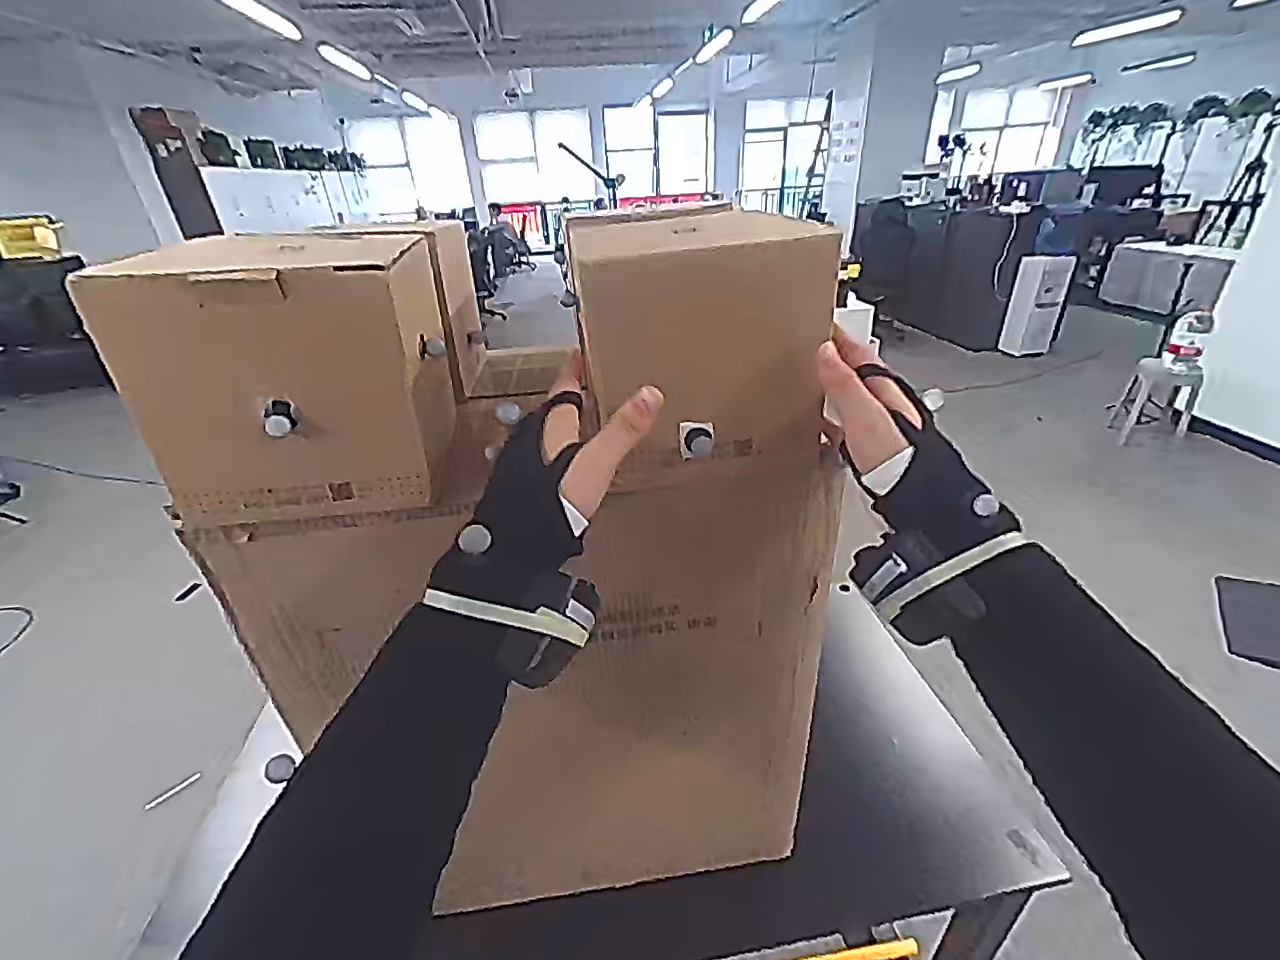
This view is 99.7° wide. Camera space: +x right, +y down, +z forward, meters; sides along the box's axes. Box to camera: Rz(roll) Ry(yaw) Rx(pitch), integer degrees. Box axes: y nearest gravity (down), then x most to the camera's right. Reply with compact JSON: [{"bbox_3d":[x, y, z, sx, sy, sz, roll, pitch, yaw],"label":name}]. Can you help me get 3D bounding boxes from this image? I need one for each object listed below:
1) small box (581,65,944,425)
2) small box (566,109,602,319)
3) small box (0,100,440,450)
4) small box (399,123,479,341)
[{"bbox_3d":[0.056,-0.152,0.357,0.168,0.176,0.179,-10,32,-5],"label":"small box"},{"bbox_3d":[0.018,-0.263,0.545,0.168,0.176,0.179,-8,27,-6],"label":"small box"},{"bbox_3d":[-0.227,-0.126,0.333,0.168,0.176,0.179,-6,32,-11],"label":"small box"},{"bbox_3d":[-0.264,-0.223,0.508,0.179,0.176,0.168,-5,29,-5],"label":"small box"}]
